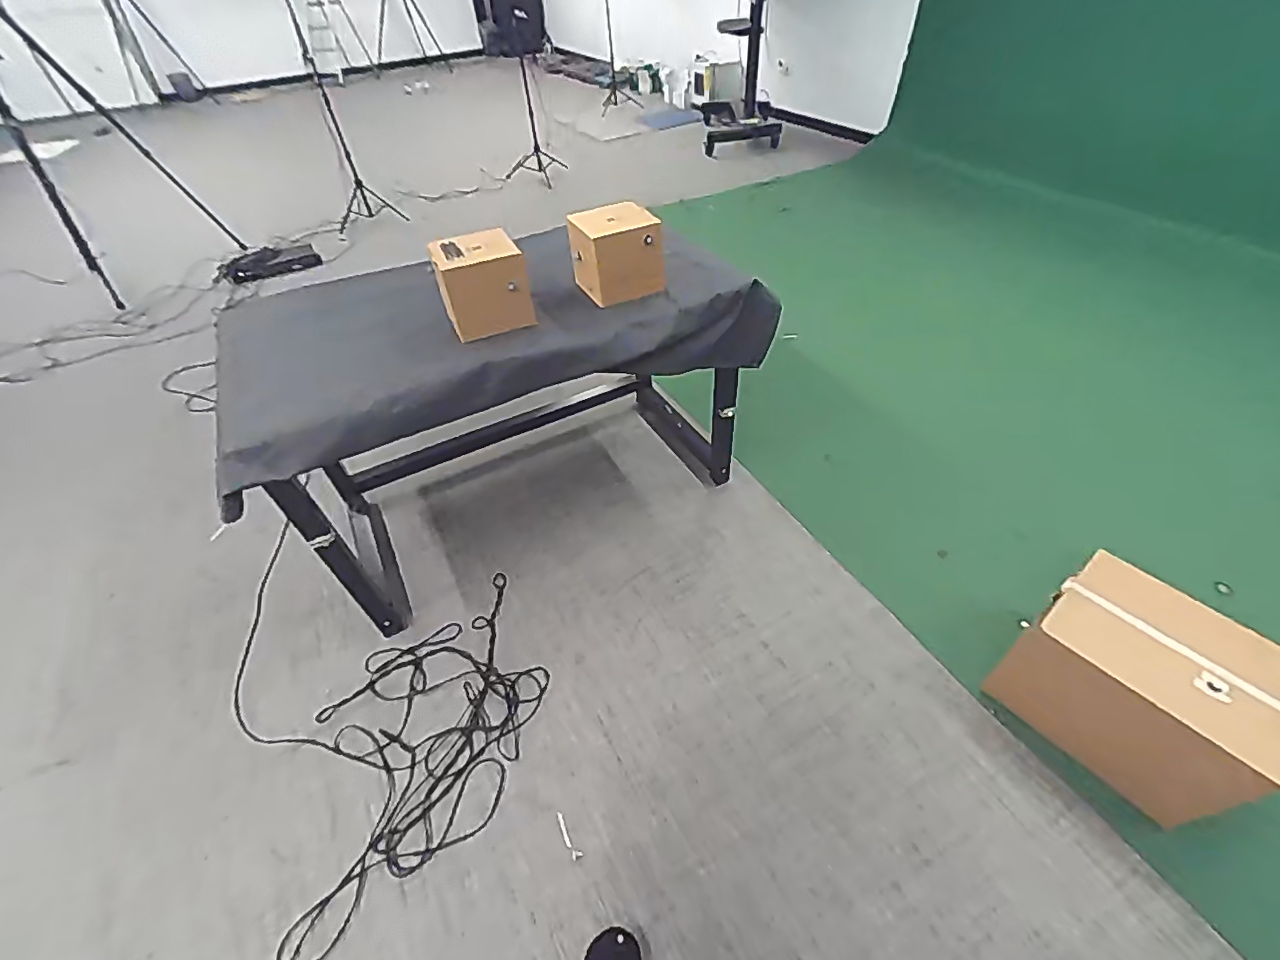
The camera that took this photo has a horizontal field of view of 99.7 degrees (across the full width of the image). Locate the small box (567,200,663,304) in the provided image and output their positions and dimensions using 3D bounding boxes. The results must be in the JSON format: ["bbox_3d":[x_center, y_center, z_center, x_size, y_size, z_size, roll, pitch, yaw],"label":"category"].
[{"bbox_3d":[-0.055,-0.545,1.298,0.179,0.176,0.168,-22,48,-16],"label":"small box"}]
